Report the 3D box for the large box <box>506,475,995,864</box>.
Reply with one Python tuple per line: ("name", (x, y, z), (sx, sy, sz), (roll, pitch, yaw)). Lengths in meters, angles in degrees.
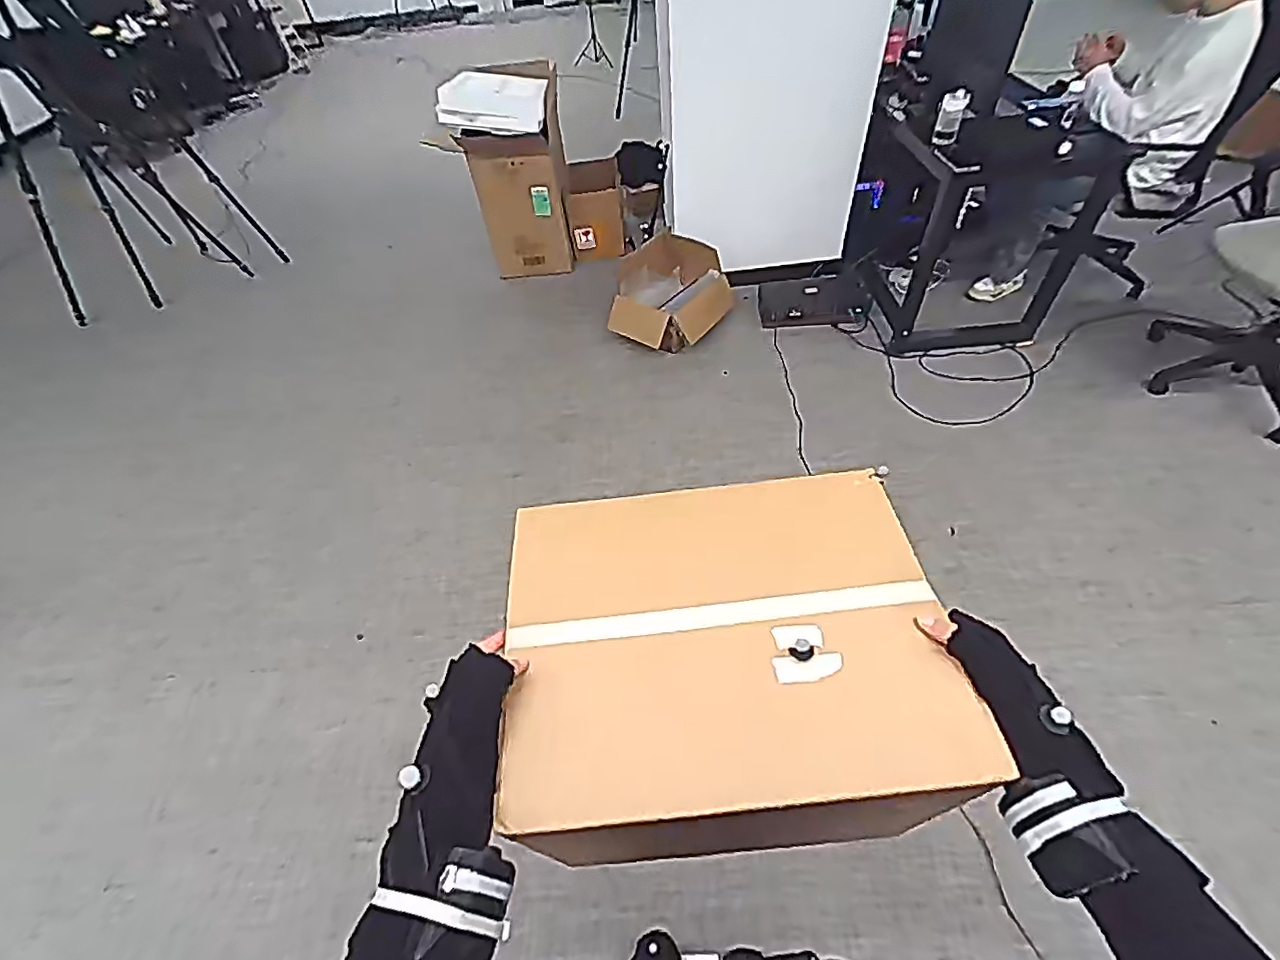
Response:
("large box", (0.086, 0.228, 0.637), (0.408, 0.320, 0.320), (-6, 50, 1))
